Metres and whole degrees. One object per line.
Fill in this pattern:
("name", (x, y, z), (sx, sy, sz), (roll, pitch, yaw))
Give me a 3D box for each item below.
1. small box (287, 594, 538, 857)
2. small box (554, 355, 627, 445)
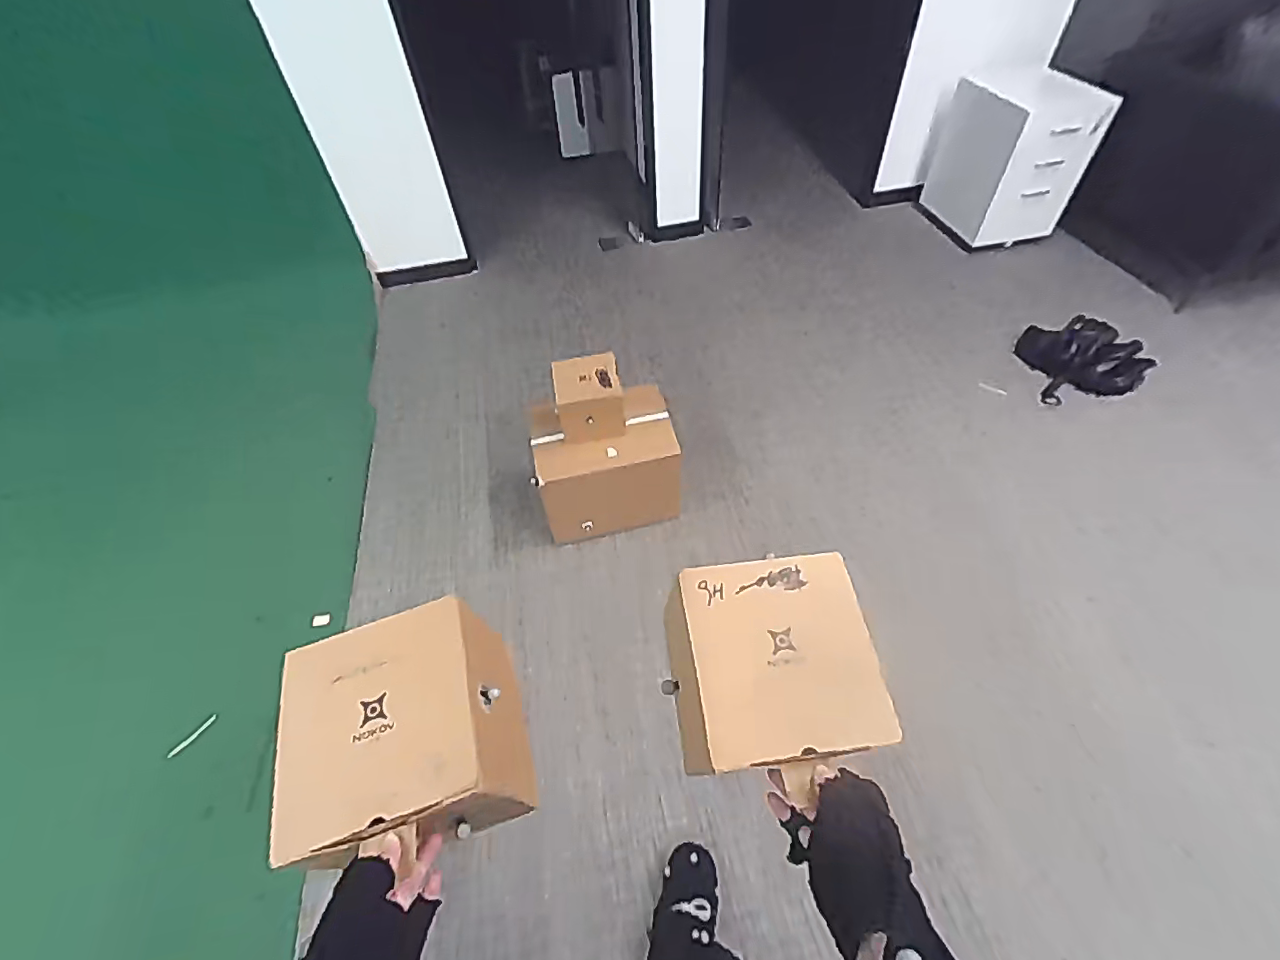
("small box", (-0.214, 0.247, 0.540), (0.168, 0.176, 0.179), (-20, 53, -5))
("small box", (-0.135, -0.220, 1.512), (0.179, 0.176, 0.168), (-12, 57, -6))
